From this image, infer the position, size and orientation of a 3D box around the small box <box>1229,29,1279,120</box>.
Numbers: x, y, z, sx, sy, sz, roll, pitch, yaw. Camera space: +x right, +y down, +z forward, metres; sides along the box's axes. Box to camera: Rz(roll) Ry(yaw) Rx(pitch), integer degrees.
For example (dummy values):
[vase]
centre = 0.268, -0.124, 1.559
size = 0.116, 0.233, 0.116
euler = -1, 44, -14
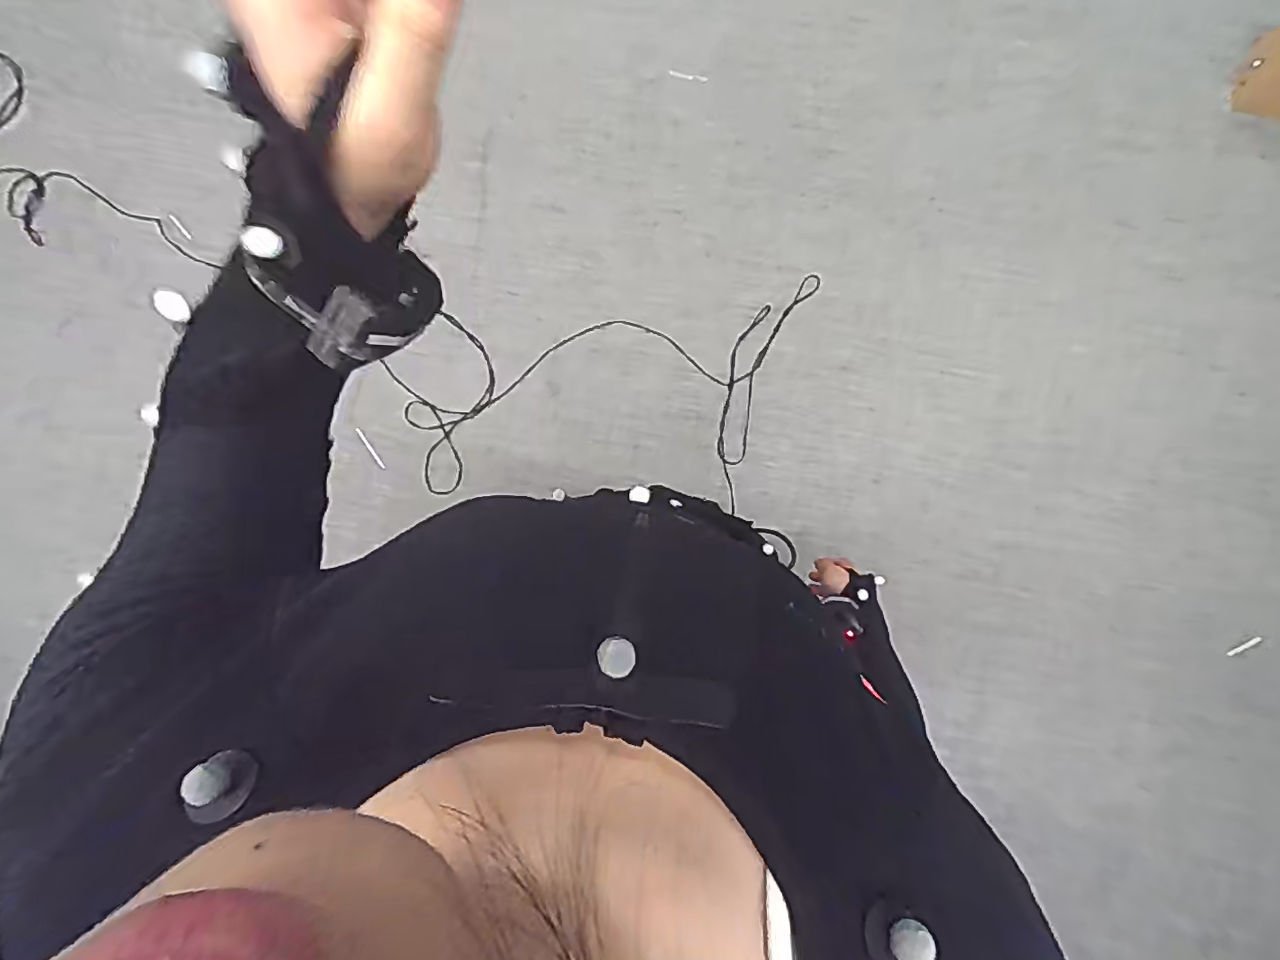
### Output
[small box]
centre = 1.697, -1.063, 1.383
size = 0.179, 0.176, 0.168
euler = 16, 88, 3
